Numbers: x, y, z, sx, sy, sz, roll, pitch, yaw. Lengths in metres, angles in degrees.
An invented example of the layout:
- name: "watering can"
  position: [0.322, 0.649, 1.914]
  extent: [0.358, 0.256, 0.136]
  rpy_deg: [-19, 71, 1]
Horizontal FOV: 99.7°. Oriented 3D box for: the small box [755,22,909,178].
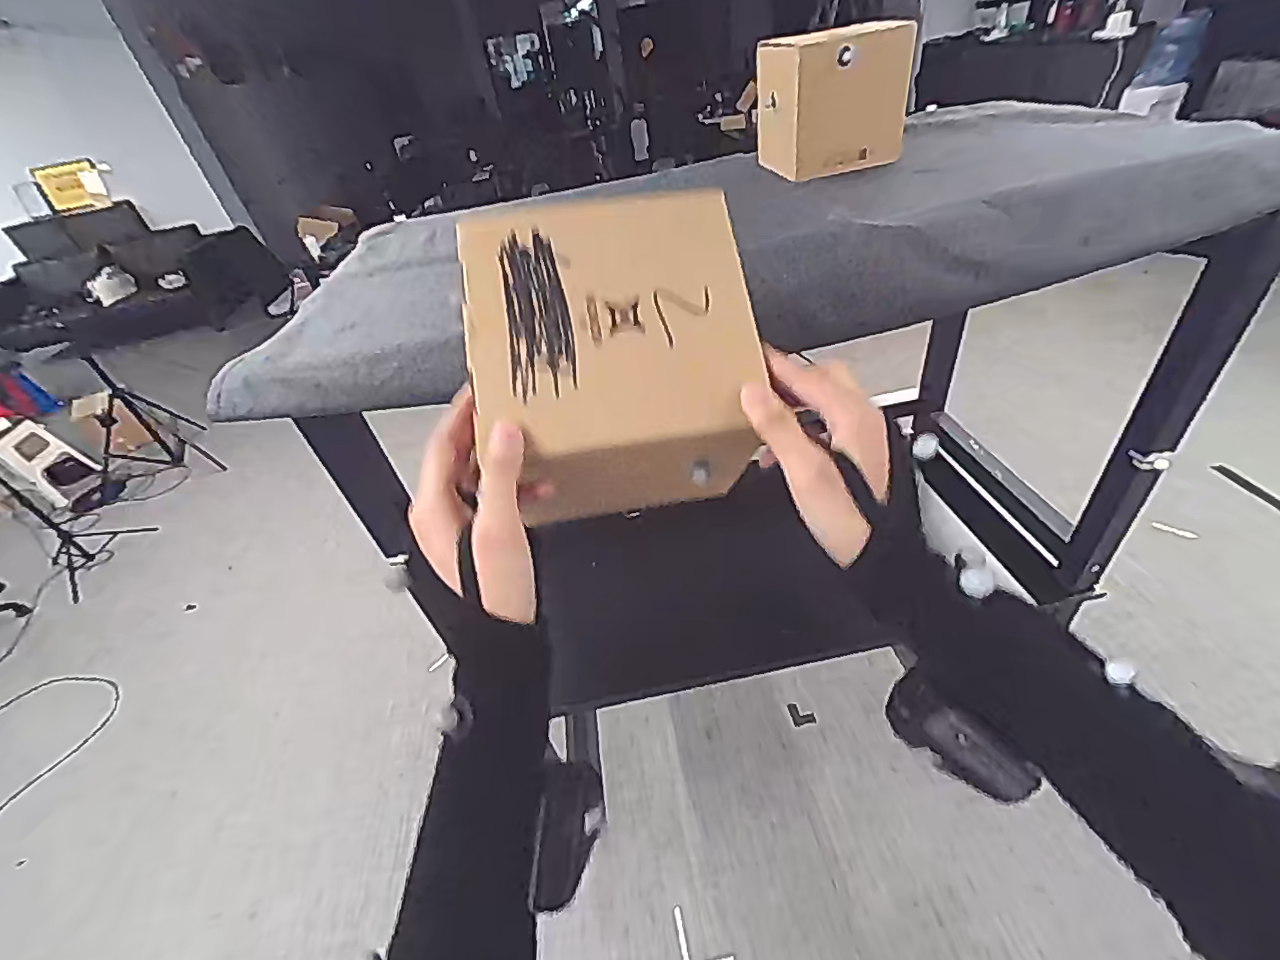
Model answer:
- name: "small box"
  position: [0.282, -0.582, 0.837]
  extent: [0.168, 0.176, 0.179]
  rpy_deg: [-13, 38, -1]
